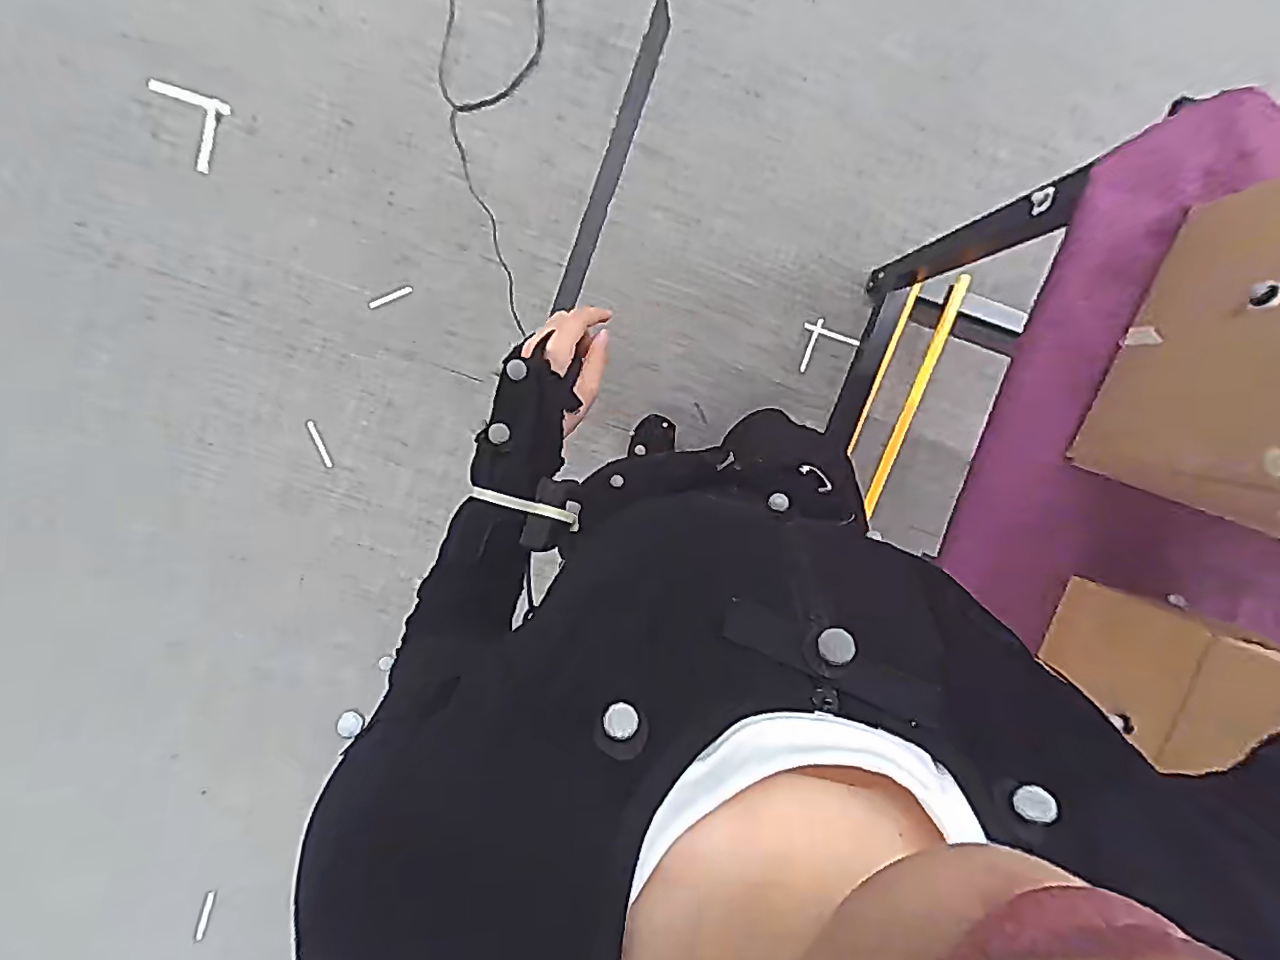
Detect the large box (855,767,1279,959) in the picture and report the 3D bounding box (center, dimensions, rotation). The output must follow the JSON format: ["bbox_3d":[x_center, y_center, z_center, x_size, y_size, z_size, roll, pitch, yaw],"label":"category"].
[{"bbox_3d":[0.525,0.583,0.587,0.408,0.320,0.320,18,98,-7],"label":"large box"}]
